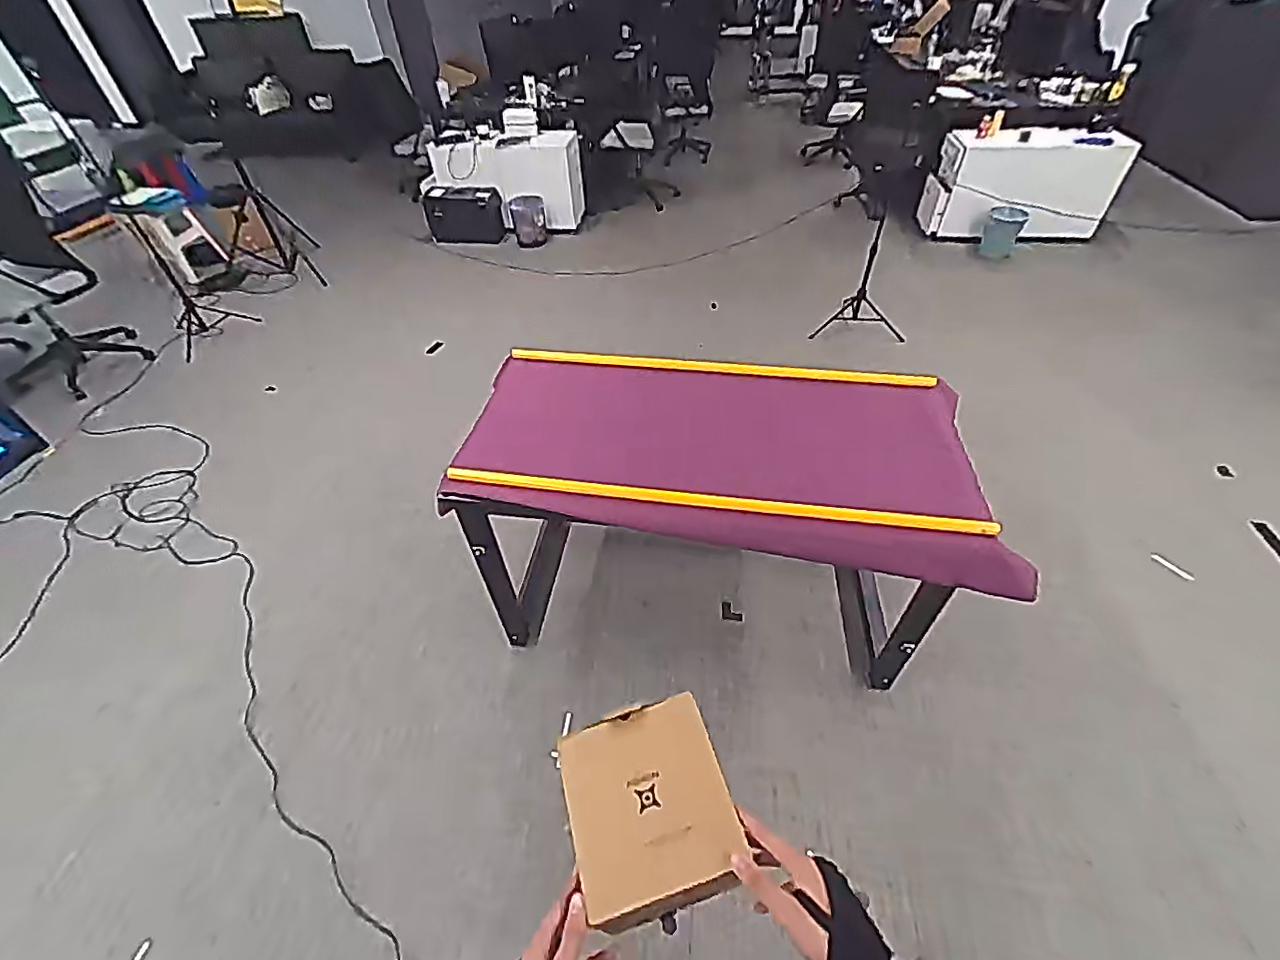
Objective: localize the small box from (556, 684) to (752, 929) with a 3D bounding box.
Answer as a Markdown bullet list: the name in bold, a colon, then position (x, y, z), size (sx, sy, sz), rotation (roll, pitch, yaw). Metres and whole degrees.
- **small box**: position (0.014, 0.372, 0.618), size (0.168, 0.176, 0.179), rotation (-18, 46, -7)
